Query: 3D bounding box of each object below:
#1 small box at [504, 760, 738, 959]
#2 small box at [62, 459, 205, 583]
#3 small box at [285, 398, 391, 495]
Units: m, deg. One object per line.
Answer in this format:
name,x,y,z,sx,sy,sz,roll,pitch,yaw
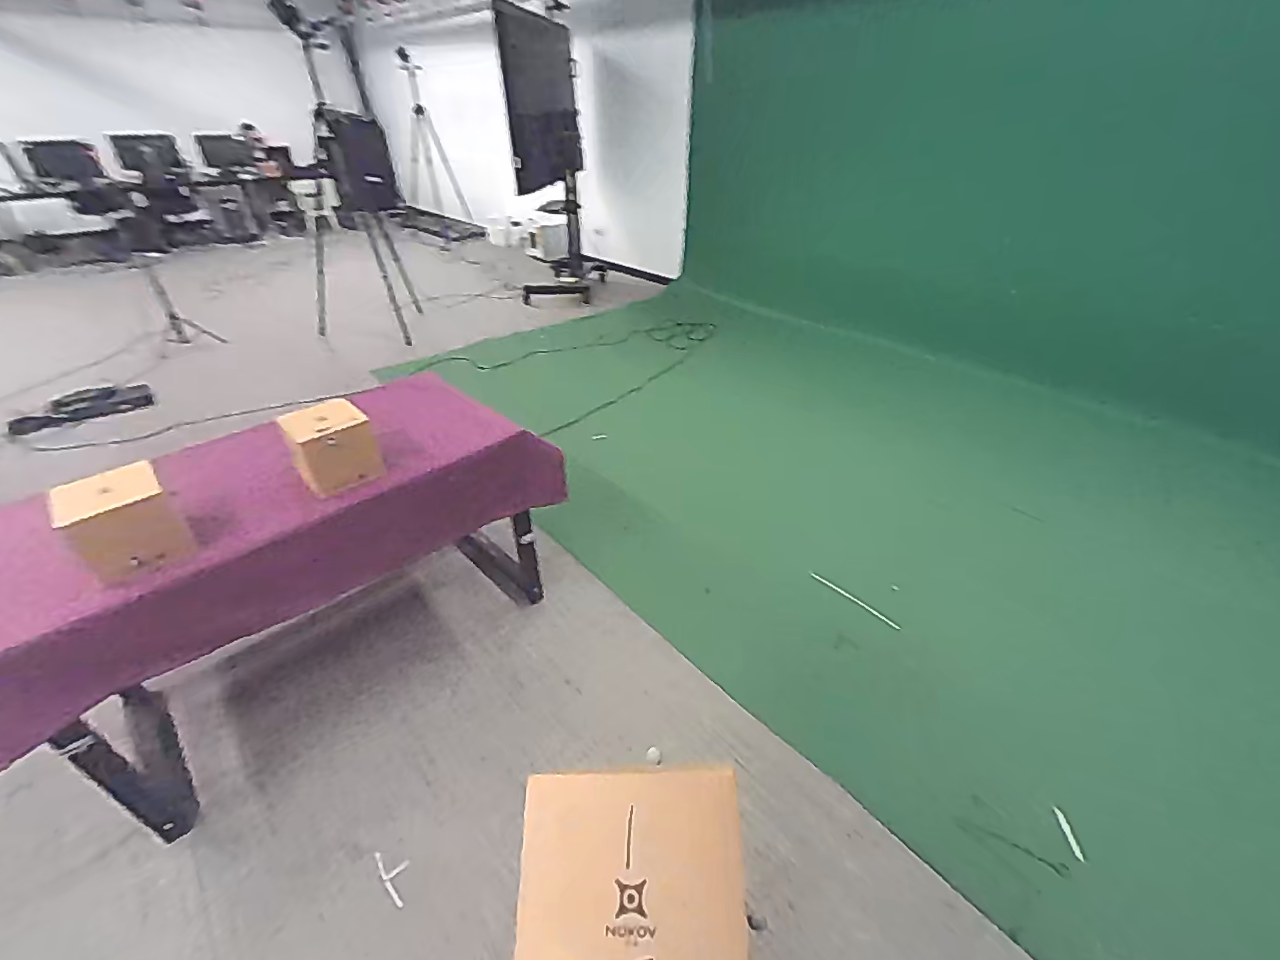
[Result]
small box,-0.004,0.339,0.460,0.168,0.176,0.179,-4,63,6
small box,-1.072,0.086,1.151,0.168,0.176,0.179,-29,45,-34
small box,-0.773,-0.087,1.392,0.168,0.176,0.179,-30,44,-34
